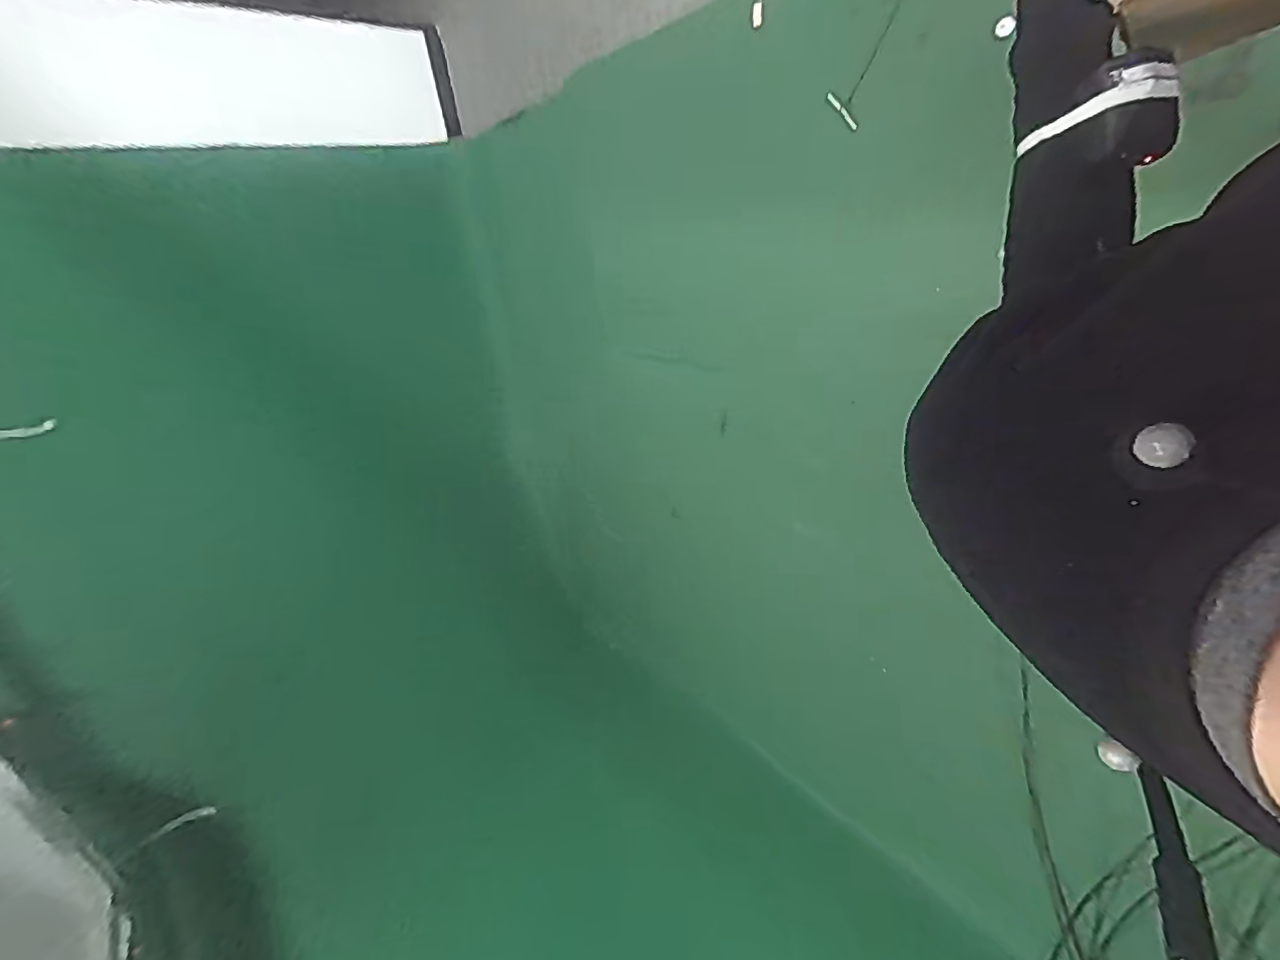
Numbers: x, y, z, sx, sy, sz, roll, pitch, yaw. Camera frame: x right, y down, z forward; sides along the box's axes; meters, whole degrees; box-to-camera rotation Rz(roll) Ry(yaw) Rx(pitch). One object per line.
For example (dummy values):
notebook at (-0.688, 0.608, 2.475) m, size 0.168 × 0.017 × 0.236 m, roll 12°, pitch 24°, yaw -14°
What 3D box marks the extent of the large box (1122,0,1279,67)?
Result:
large box at (0.516, -0.500, 0.269) m, size 0.408 × 0.320 × 0.320 m, roll 1°, pitch 110°, yaw 46°
